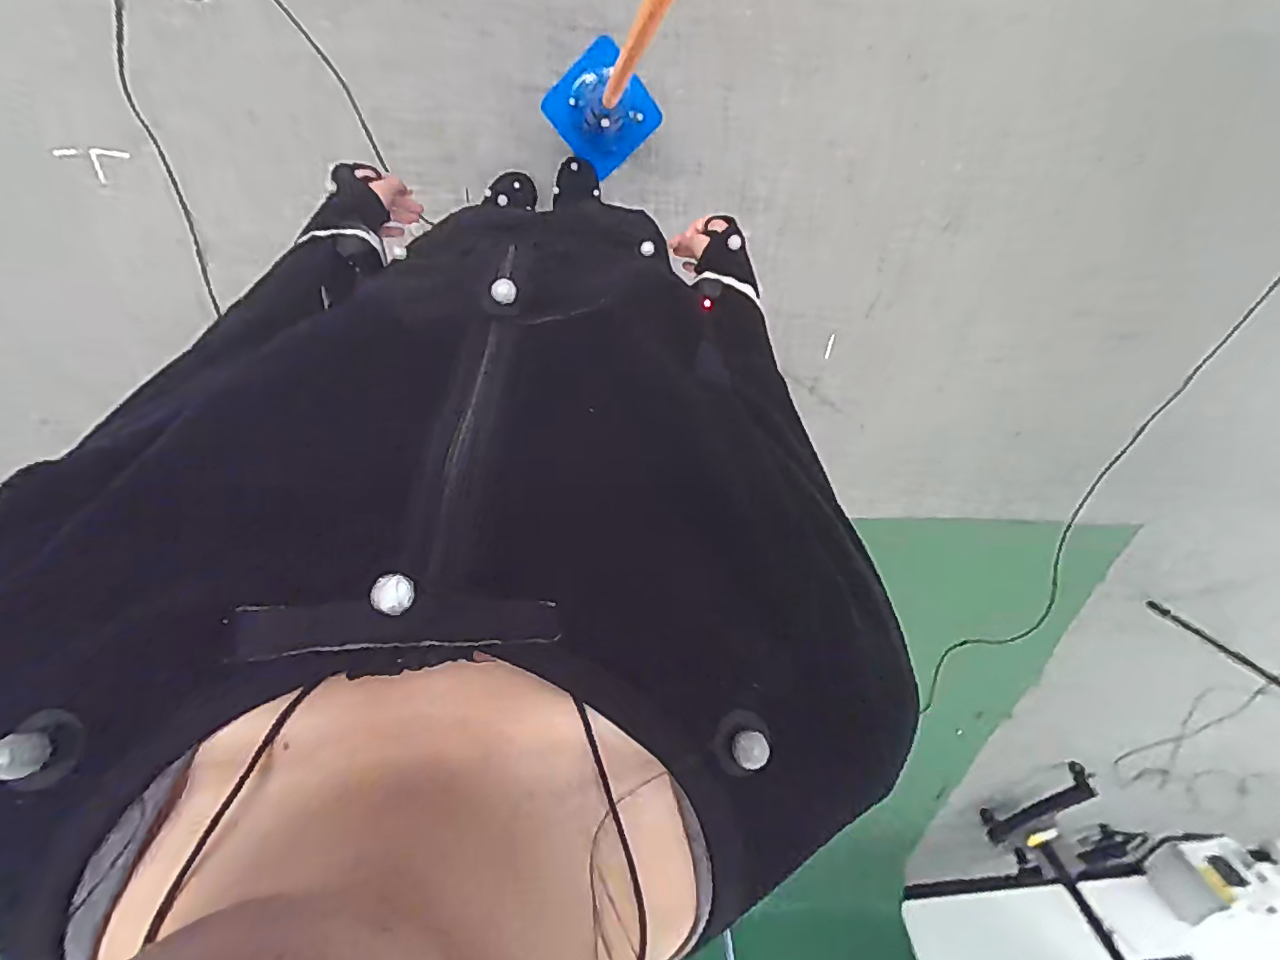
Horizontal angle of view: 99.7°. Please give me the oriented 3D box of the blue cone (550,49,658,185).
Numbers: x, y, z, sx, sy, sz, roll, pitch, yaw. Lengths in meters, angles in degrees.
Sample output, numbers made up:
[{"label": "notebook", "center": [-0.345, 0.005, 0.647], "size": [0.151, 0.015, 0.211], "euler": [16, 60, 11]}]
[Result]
[{"label": "blue cone", "center": [-0.061, -0.683, 1.011], "size": [0.193, 0.380, 0.192], "euler": [-39, 118, 16]}]
